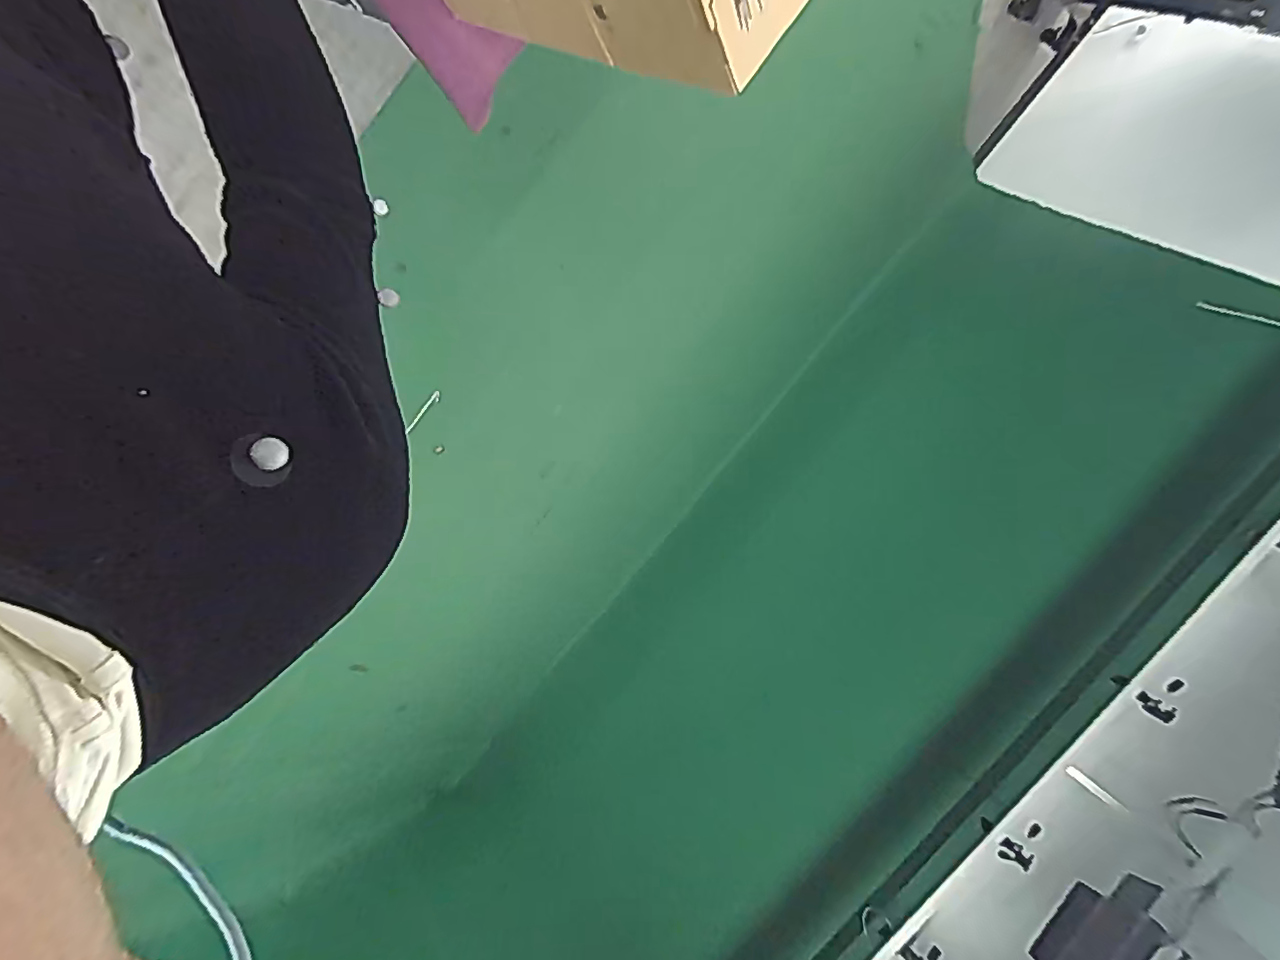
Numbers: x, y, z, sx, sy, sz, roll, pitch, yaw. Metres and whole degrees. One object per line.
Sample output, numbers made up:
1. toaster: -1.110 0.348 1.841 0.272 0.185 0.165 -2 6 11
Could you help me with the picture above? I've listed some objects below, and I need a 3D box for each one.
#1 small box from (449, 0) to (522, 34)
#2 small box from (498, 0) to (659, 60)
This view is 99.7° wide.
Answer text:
1. small box: -0.177 -0.661 0.603 0.168 0.176 0.179 -50 151 1
2. small box: -0.064 -0.569 0.527 0.179 0.176 0.168 -50 150 1
